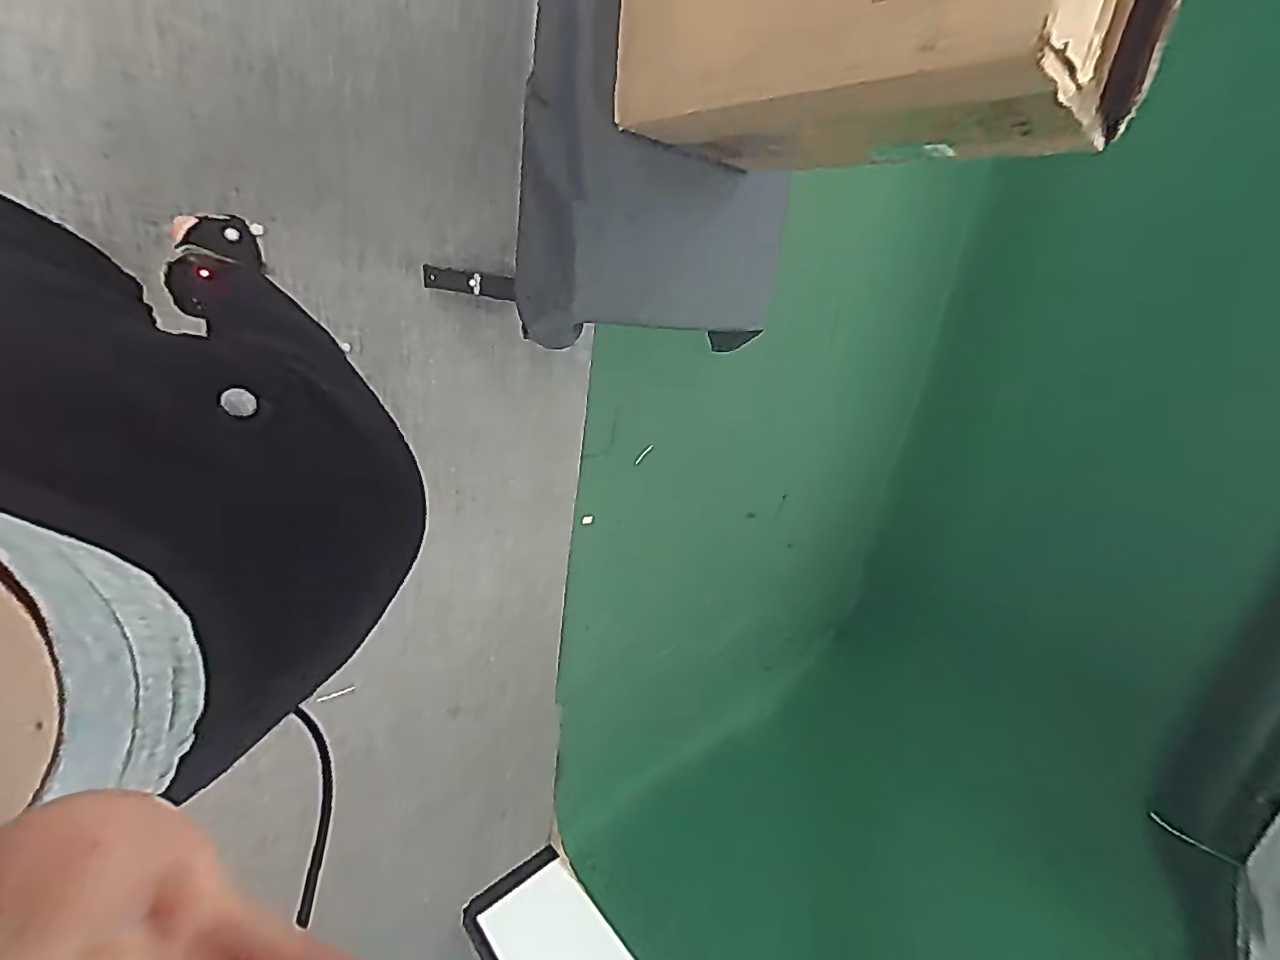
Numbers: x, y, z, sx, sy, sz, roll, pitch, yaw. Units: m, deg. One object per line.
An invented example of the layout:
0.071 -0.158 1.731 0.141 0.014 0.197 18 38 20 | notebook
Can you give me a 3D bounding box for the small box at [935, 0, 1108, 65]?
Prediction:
0.526 -0.709 0.728 0.168 0.176 0.179 -45 -133 6 | small box
